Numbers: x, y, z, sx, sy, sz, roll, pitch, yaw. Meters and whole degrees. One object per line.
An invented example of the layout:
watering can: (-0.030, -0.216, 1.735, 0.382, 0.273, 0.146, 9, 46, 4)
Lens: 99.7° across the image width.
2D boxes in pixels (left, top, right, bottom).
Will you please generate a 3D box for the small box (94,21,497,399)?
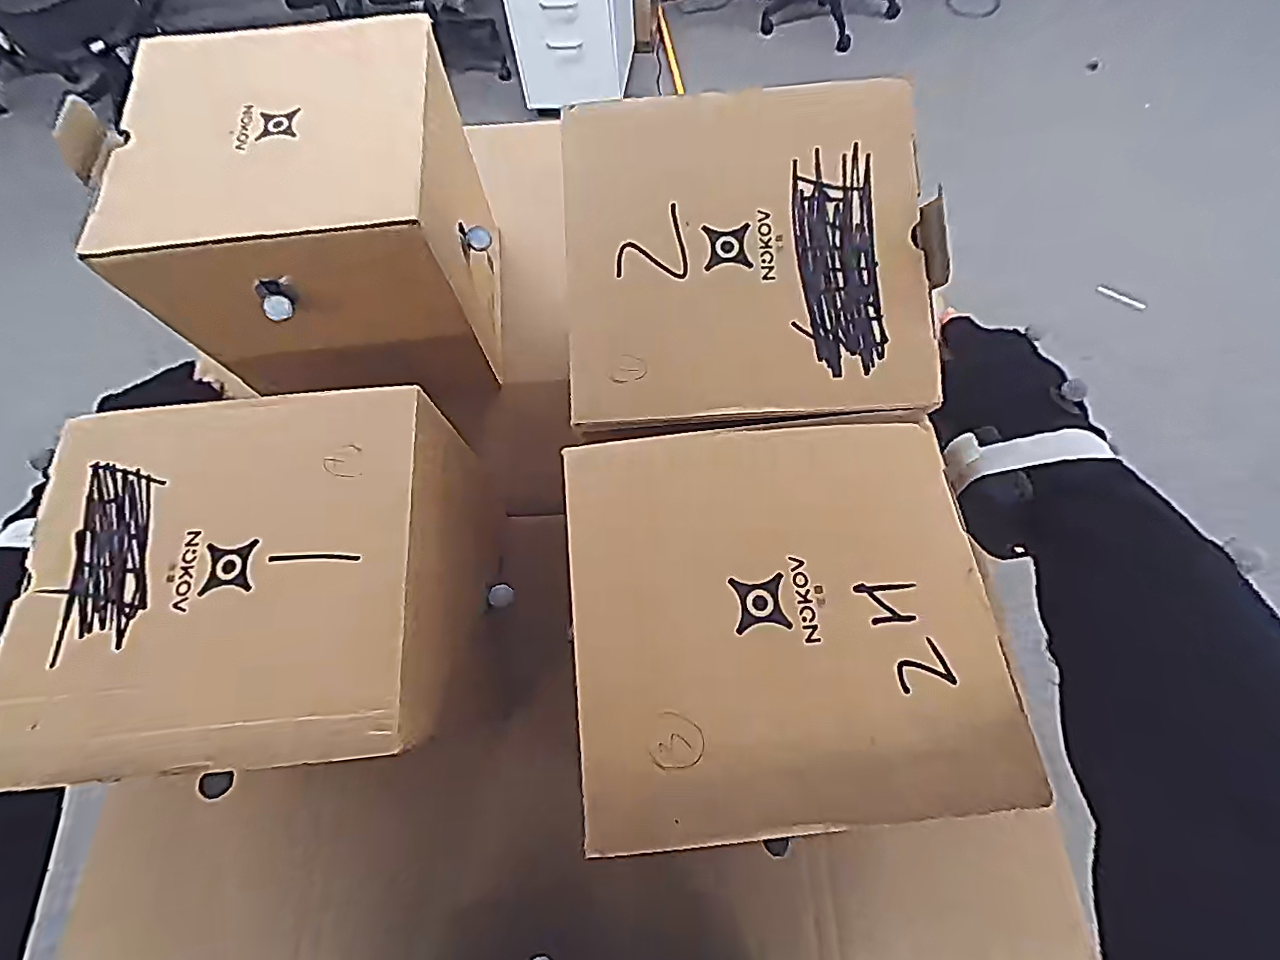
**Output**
small box: (-0.206, -0.174, 0.386, 0.179, 0.176, 0.168, -7, 69, 0)
